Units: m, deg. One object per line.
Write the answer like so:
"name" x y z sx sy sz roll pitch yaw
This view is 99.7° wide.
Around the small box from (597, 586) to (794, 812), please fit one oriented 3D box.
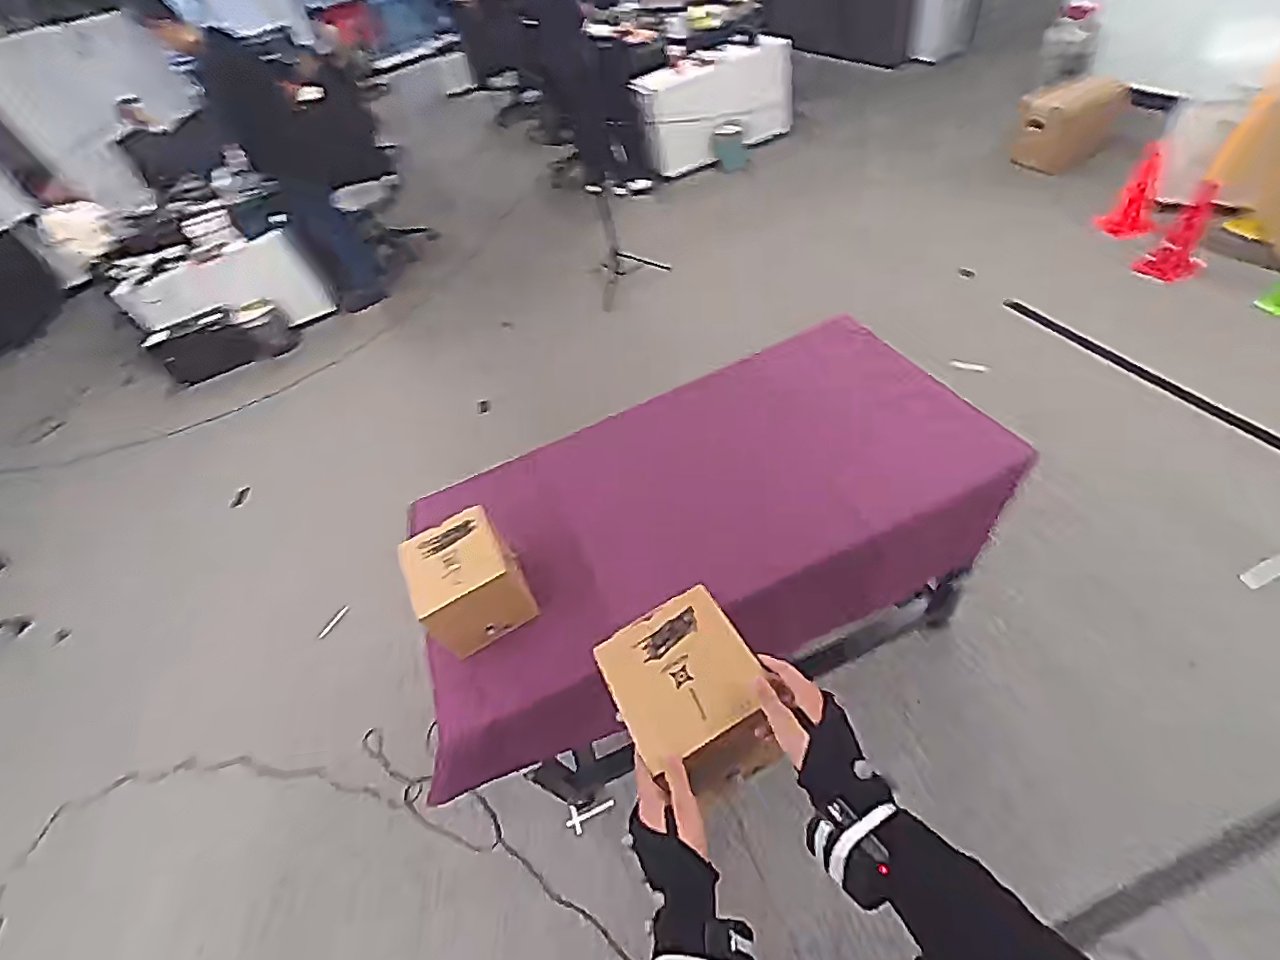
"small box" 0.071 0.275 0.681 0.168 0.176 0.179 -31 43 -6
